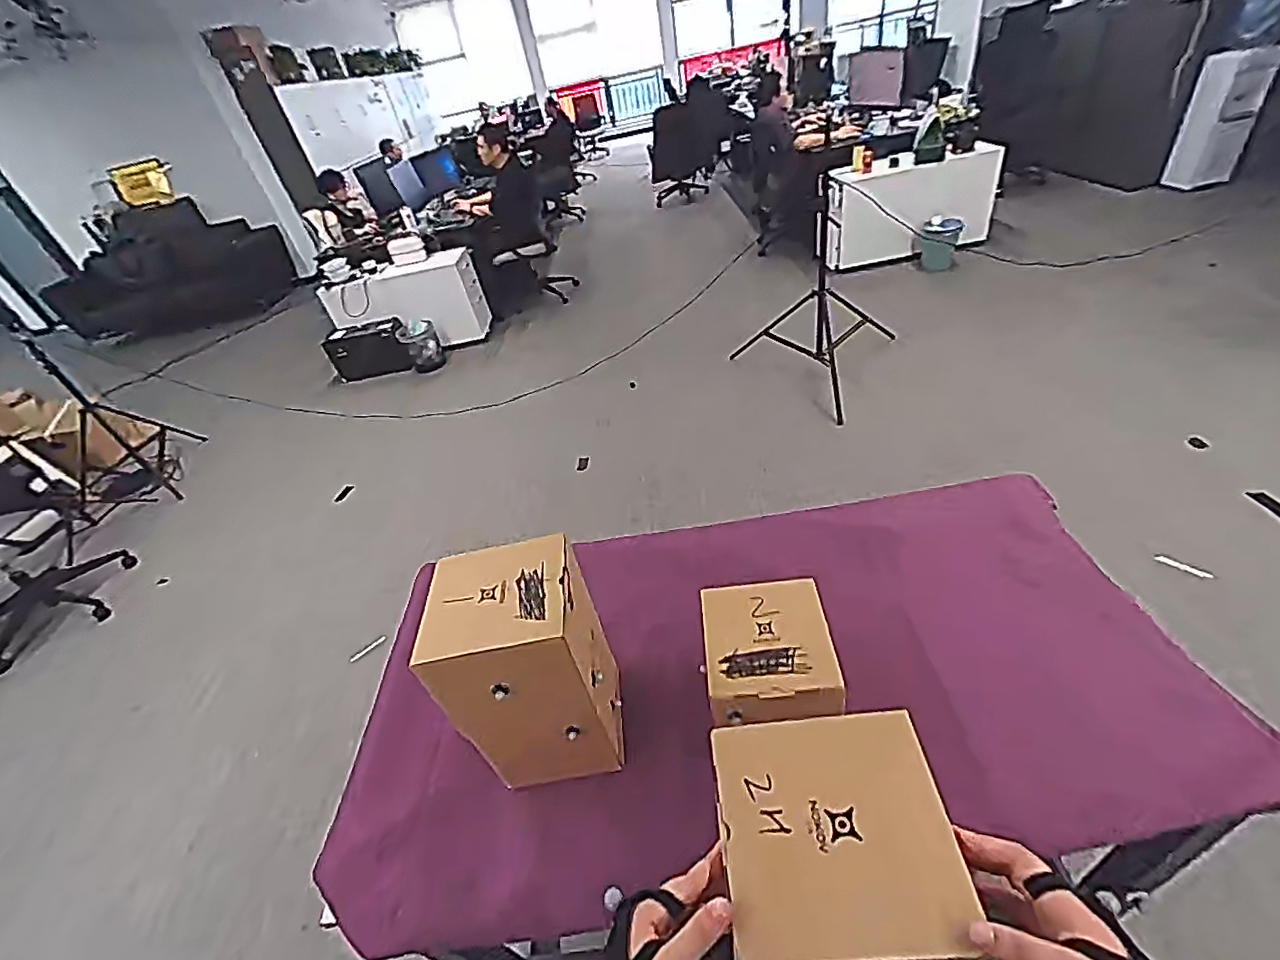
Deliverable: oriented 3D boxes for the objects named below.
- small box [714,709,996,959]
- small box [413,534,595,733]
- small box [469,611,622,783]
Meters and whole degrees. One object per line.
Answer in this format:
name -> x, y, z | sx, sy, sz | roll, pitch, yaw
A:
small box -> 0.168, 0.325, 0.479 | 0.179, 0.176, 0.168 | -9, 41, 7
small box -> -0.157, 0.199, 0.698 | 0.179, 0.176, 0.168 | -12, 38, 2
small box -> -0.131, 0.324, 0.802 | 0.179, 0.176, 0.168 | -10, 38, 2
